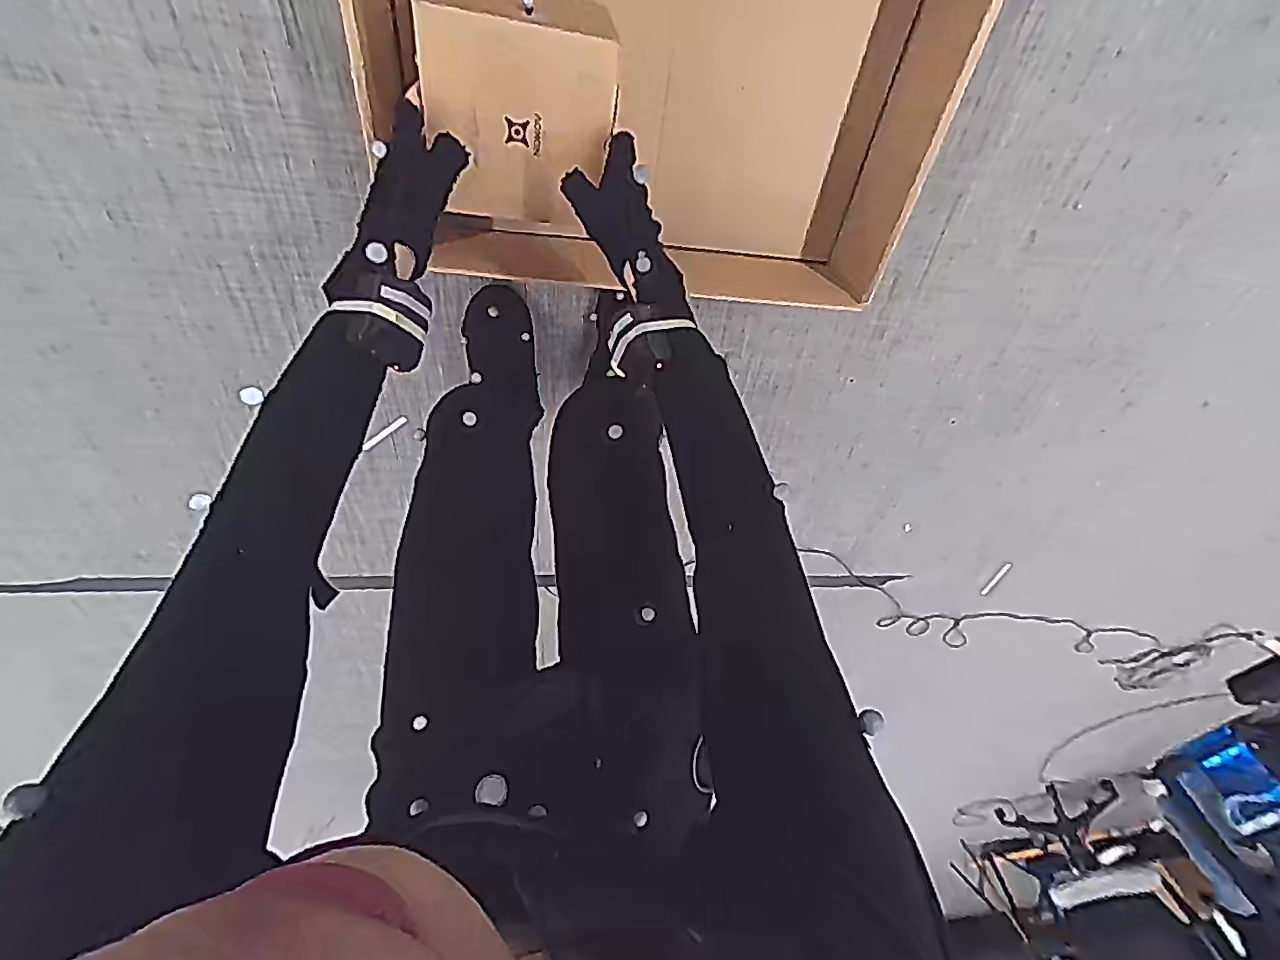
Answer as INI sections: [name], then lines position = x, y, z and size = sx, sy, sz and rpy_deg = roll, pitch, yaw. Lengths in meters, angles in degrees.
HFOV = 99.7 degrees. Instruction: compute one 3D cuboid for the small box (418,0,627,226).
[small box]
position = -0.123, -0.392, 0.560
size = 0.179, 0.176, 0.168
rpy_deg = 1, 139, -14
